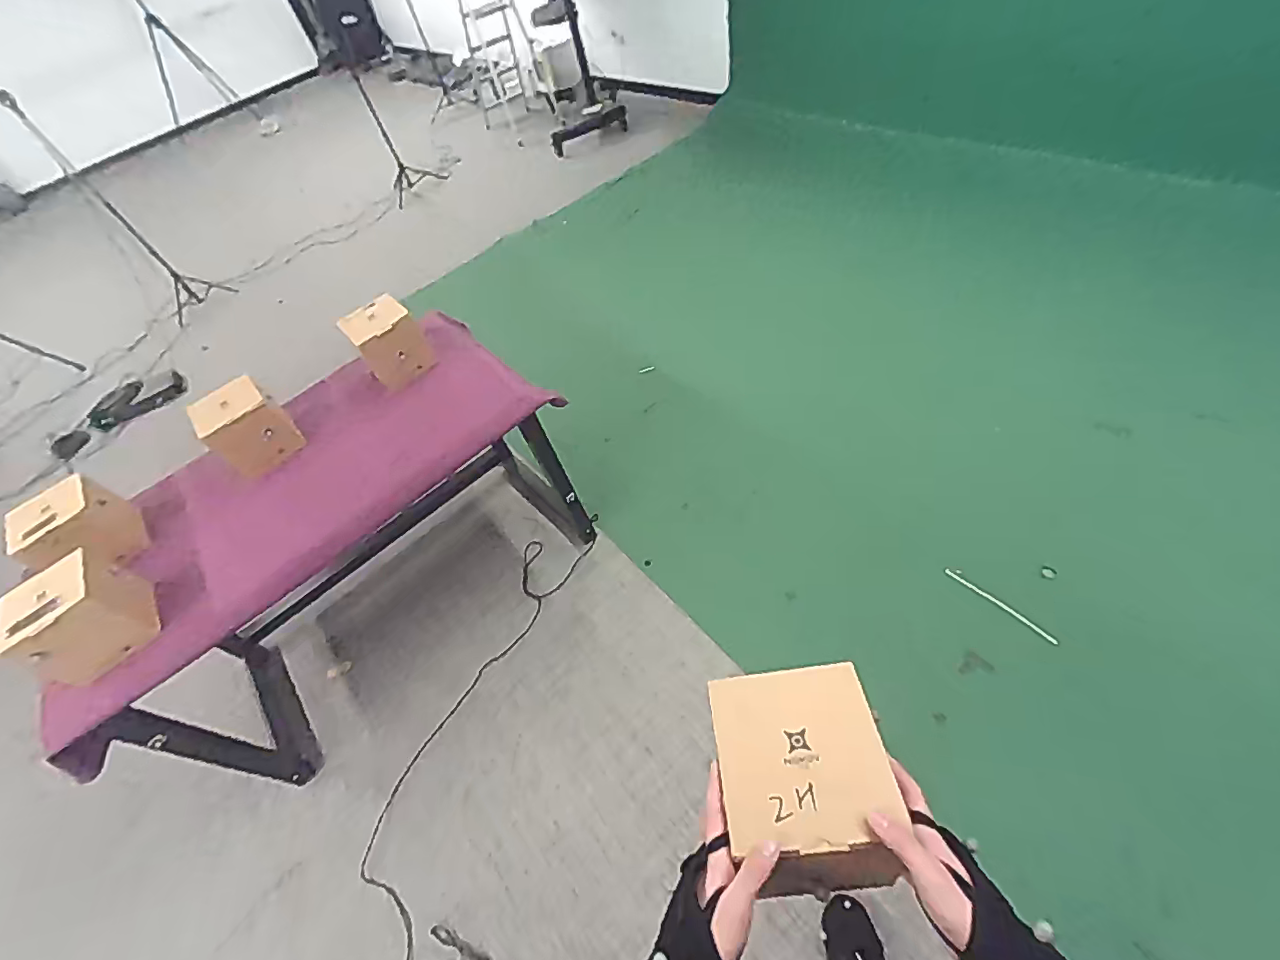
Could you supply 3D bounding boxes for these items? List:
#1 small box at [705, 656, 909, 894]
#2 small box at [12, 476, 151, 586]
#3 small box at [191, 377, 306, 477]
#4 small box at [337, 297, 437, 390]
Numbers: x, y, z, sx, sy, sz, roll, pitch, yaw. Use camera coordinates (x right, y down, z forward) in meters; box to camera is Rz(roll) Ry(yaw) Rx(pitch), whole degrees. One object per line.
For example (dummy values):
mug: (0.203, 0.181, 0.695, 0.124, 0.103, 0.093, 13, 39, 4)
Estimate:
small box: (0.170, 0.325, 0.598, 0.168, 0.176, 0.179, -10, 41, 5)
small box: (-1.332, 0.131, 1.300, 0.168, 0.176, 0.179, -41, 53, -18)
small box: (-1.025, -0.132, 1.426, 0.168, 0.176, 0.179, -40, 53, -17)
small box: (-0.711, -0.382, 1.535, 0.168, 0.176, 0.179, -39, 54, -16)
